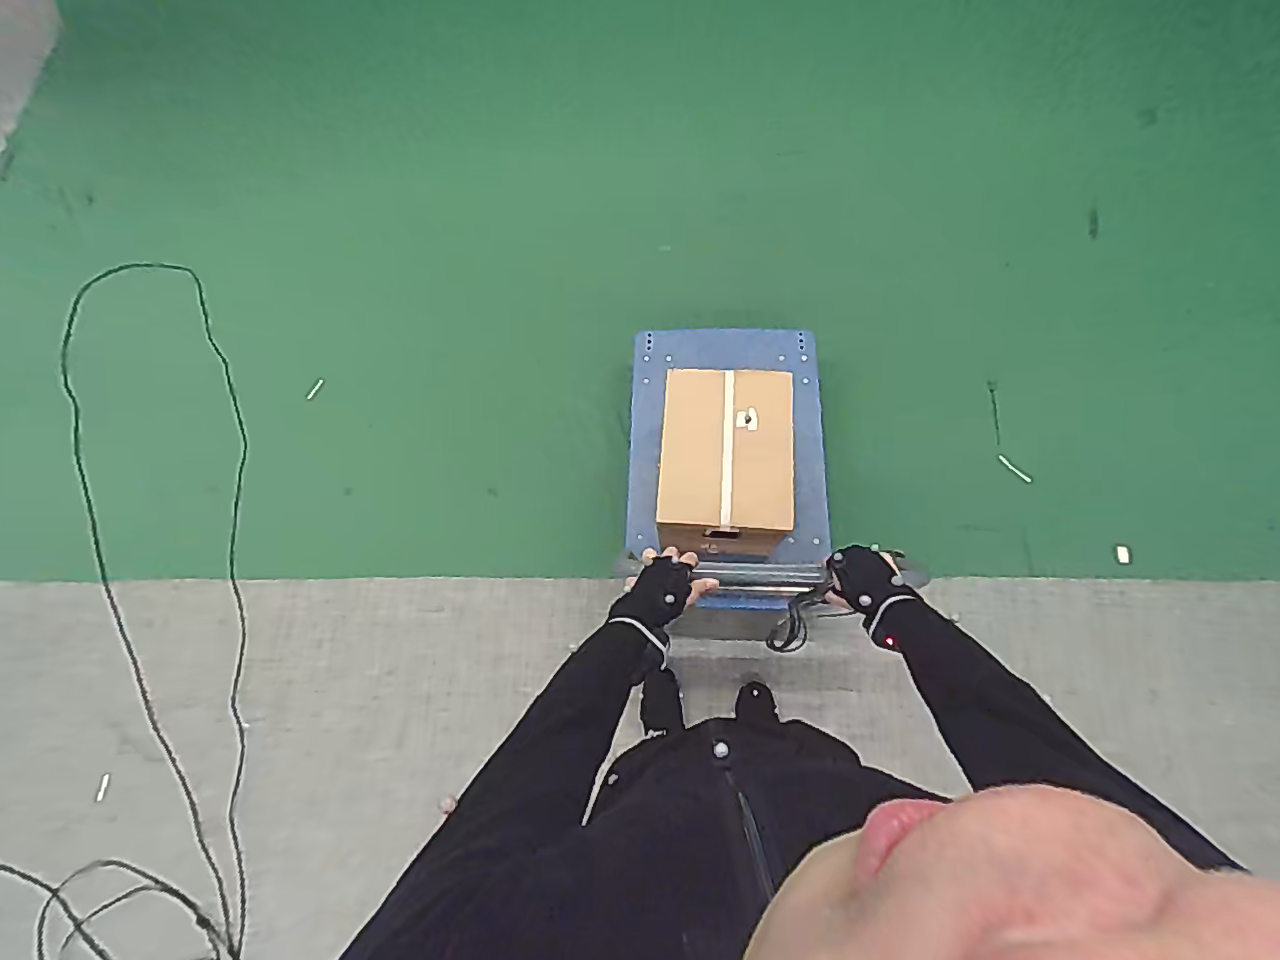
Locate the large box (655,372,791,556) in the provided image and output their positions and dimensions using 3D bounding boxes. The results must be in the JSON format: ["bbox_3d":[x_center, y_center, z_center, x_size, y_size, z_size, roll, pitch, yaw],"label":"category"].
[{"bbox_3d":[0.211,-0.029,1.429,0.320,0.320,0.408,3,71,5],"label":"large box"}]
